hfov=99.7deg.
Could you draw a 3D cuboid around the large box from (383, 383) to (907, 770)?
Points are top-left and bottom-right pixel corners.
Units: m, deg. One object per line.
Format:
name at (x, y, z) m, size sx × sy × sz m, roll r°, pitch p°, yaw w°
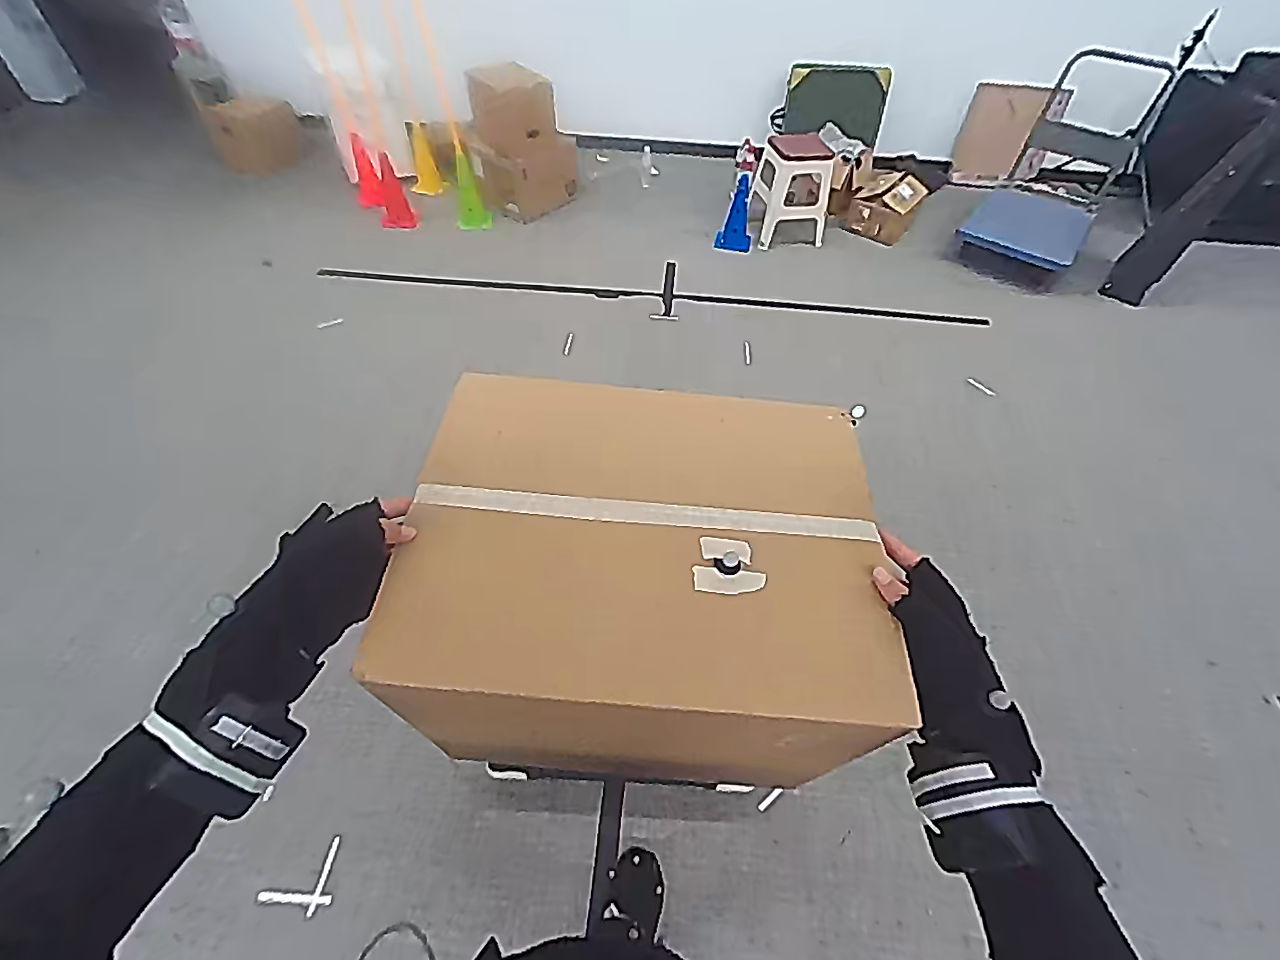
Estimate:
large box at (0.001, 0.121, 0.608) m, size 0.408 × 0.320 × 0.320 m, roll 5°, pitch 54°, yaw -1°
